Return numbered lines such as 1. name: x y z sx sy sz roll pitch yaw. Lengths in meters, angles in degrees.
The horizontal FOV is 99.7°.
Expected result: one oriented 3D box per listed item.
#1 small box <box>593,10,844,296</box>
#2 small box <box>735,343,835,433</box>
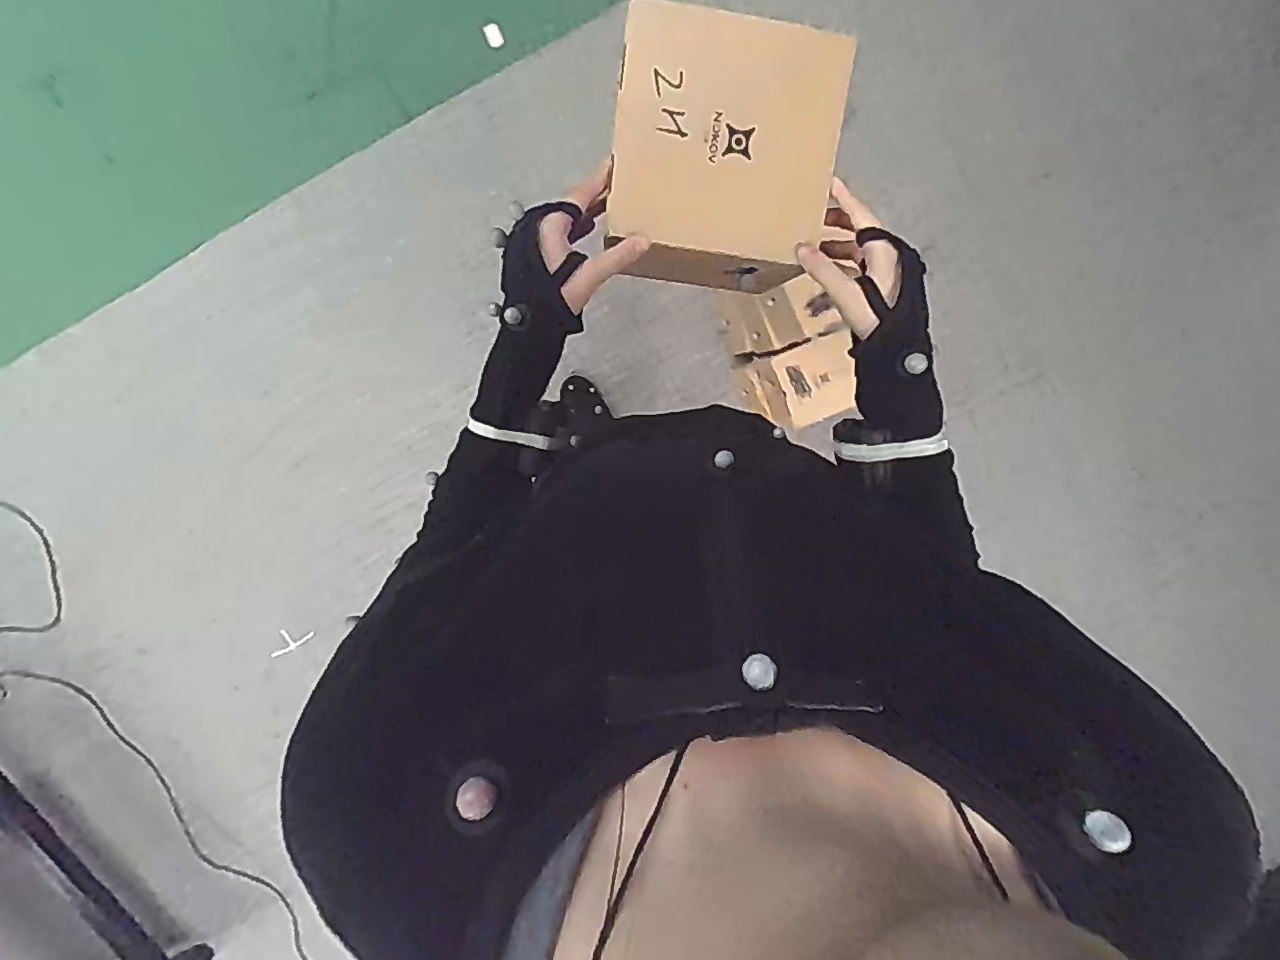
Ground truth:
1. small box: 0.055 -0.272 0.496 0.179 0.176 0.168 7 100 -4
2. small box: 0.368 -0.239 1.400 0.179 0.176 0.168 -27 100 4
